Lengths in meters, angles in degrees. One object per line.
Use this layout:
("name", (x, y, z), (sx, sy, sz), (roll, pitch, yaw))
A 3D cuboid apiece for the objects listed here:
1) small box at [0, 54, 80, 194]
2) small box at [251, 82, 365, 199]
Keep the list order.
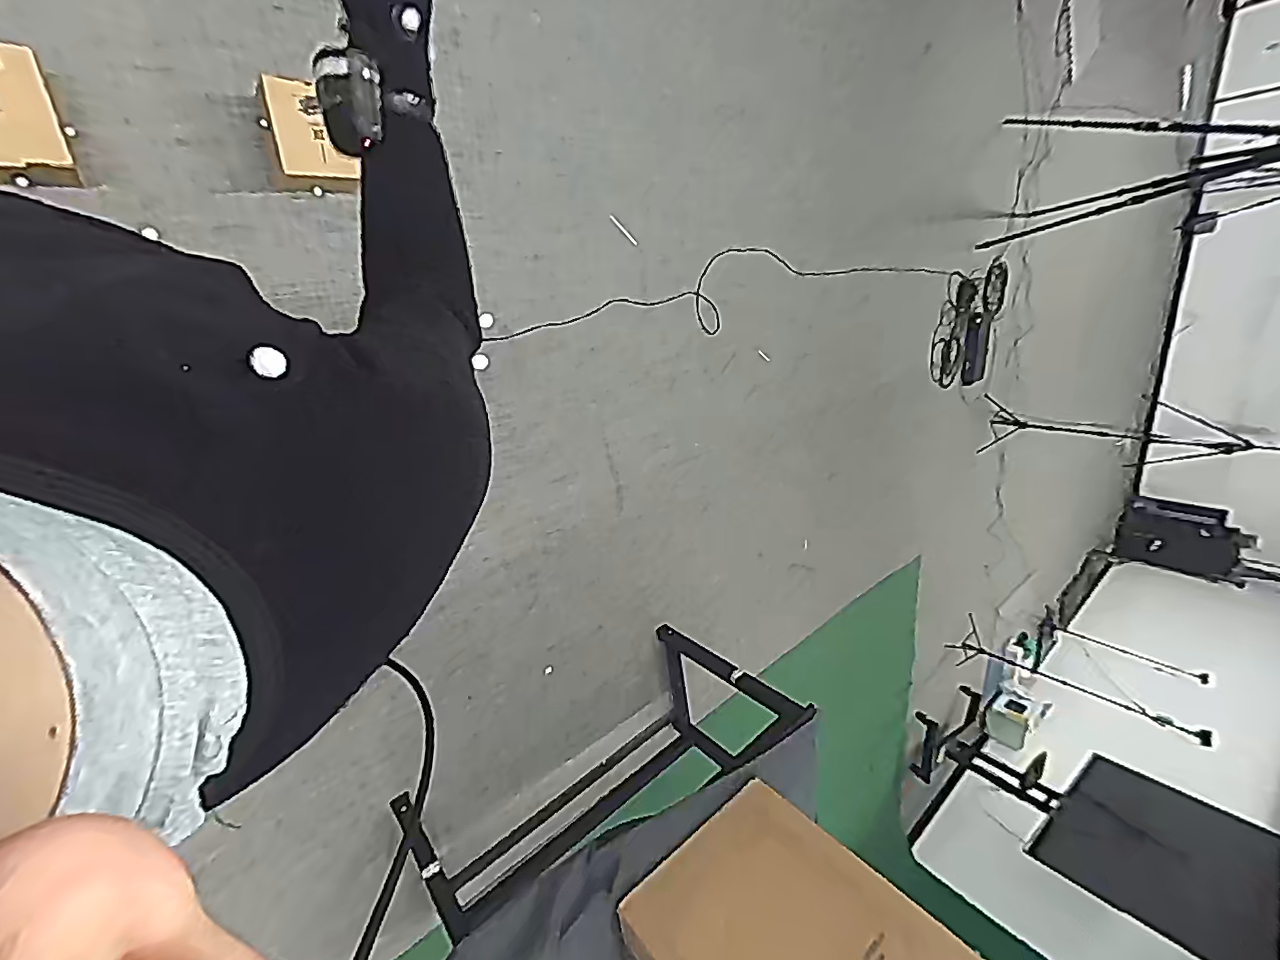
("small box", (-1.096, -0.594, 0.912), (0.168, 0.176, 0.179), (-19, 113, -35))
("small box", (-0.728, -0.730, 1.183), (0.168, 0.176, 0.179), (-19, 114, -34))
